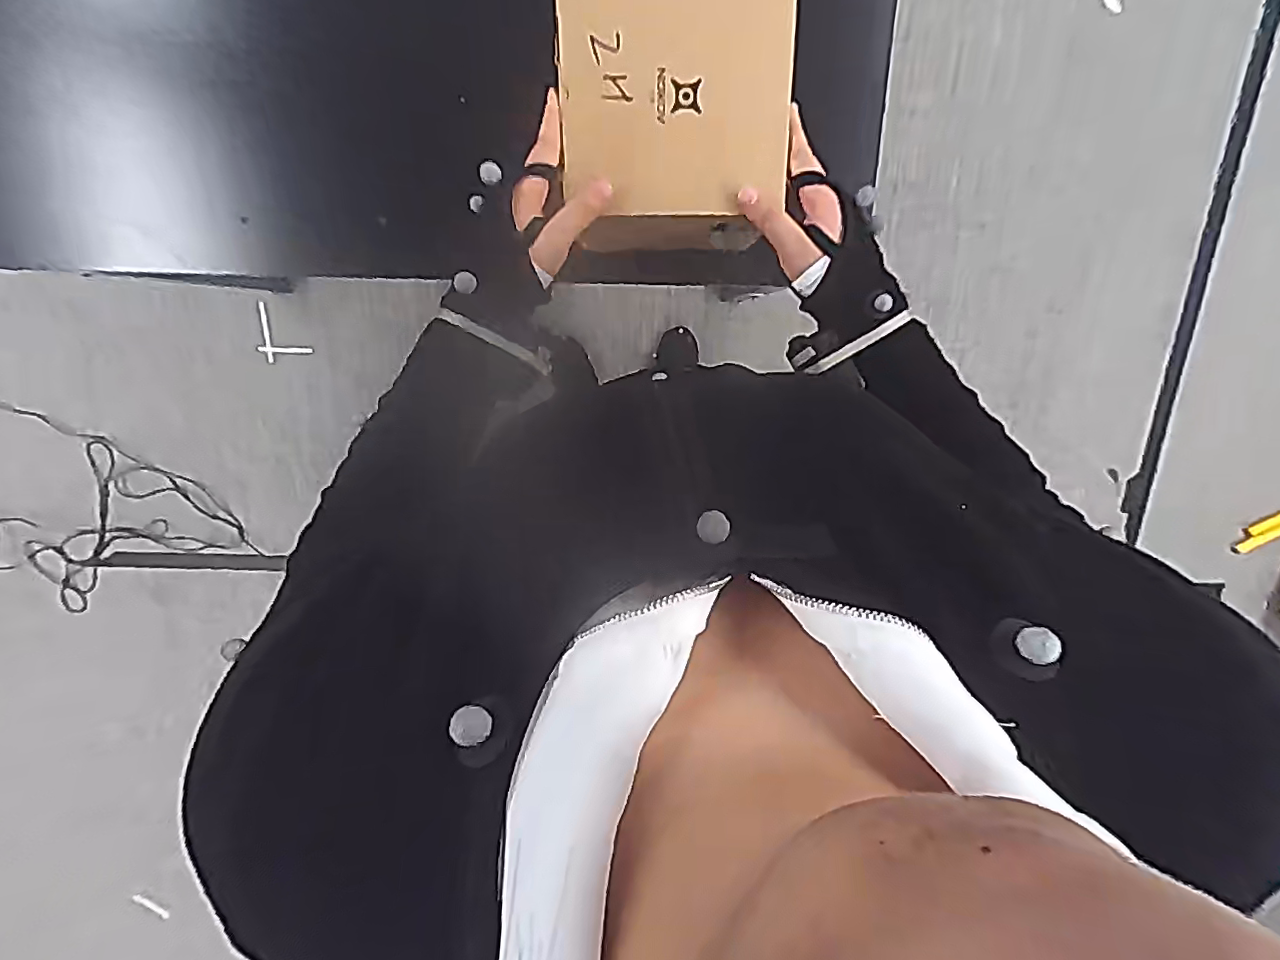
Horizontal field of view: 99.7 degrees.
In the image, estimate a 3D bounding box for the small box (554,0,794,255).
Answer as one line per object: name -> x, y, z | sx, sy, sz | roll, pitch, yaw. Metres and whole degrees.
small box -> 0.024, -0.303, 0.482 | 0.179, 0.176, 0.168 | 0, 103, 1
